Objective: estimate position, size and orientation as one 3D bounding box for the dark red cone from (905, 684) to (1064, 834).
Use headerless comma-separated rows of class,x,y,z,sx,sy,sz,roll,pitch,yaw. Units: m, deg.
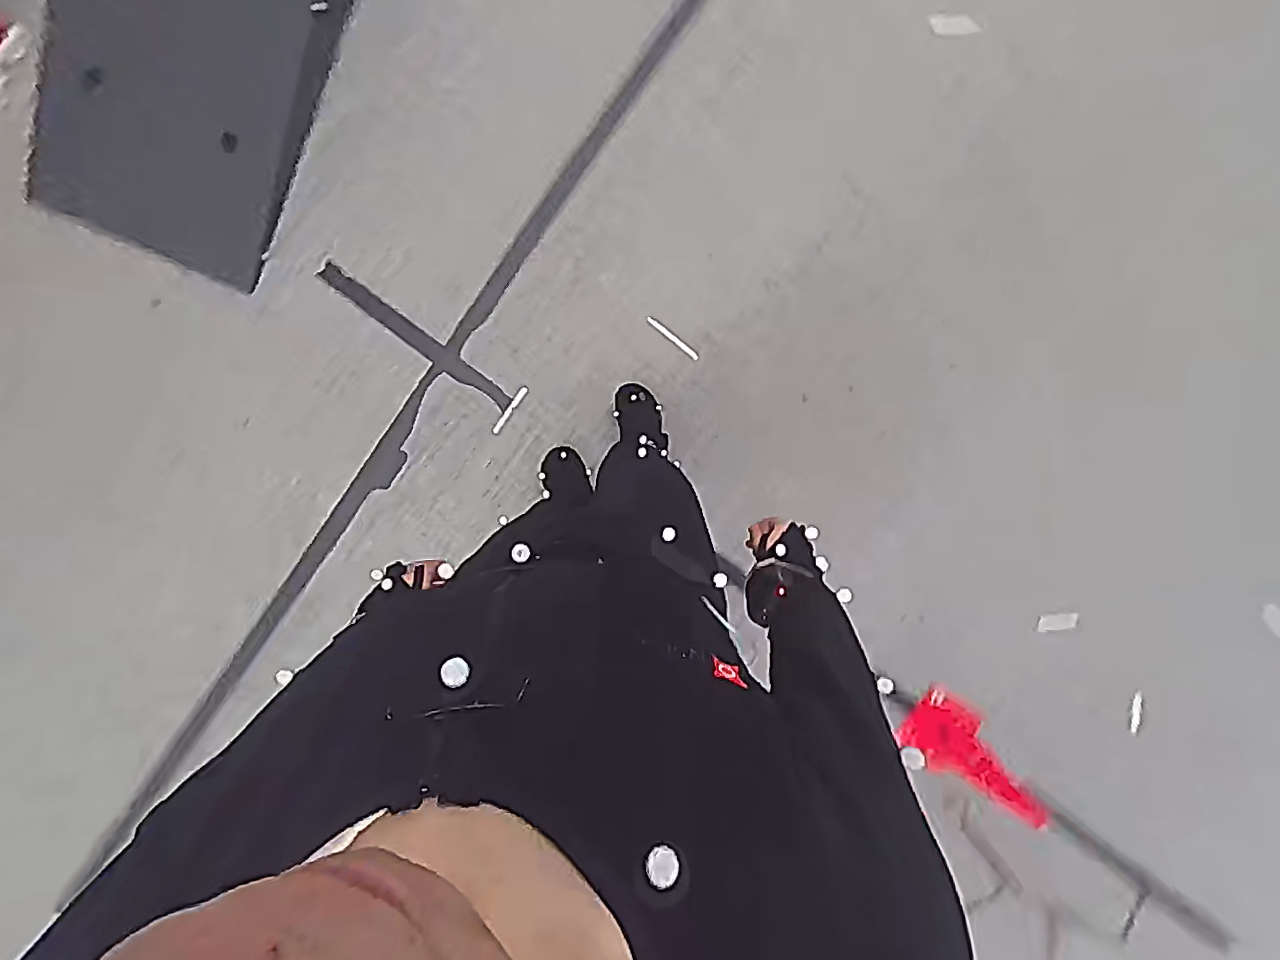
dark red cone,0.878,0.713,1.354,0.202,0.394,0.201,35,94,-9
